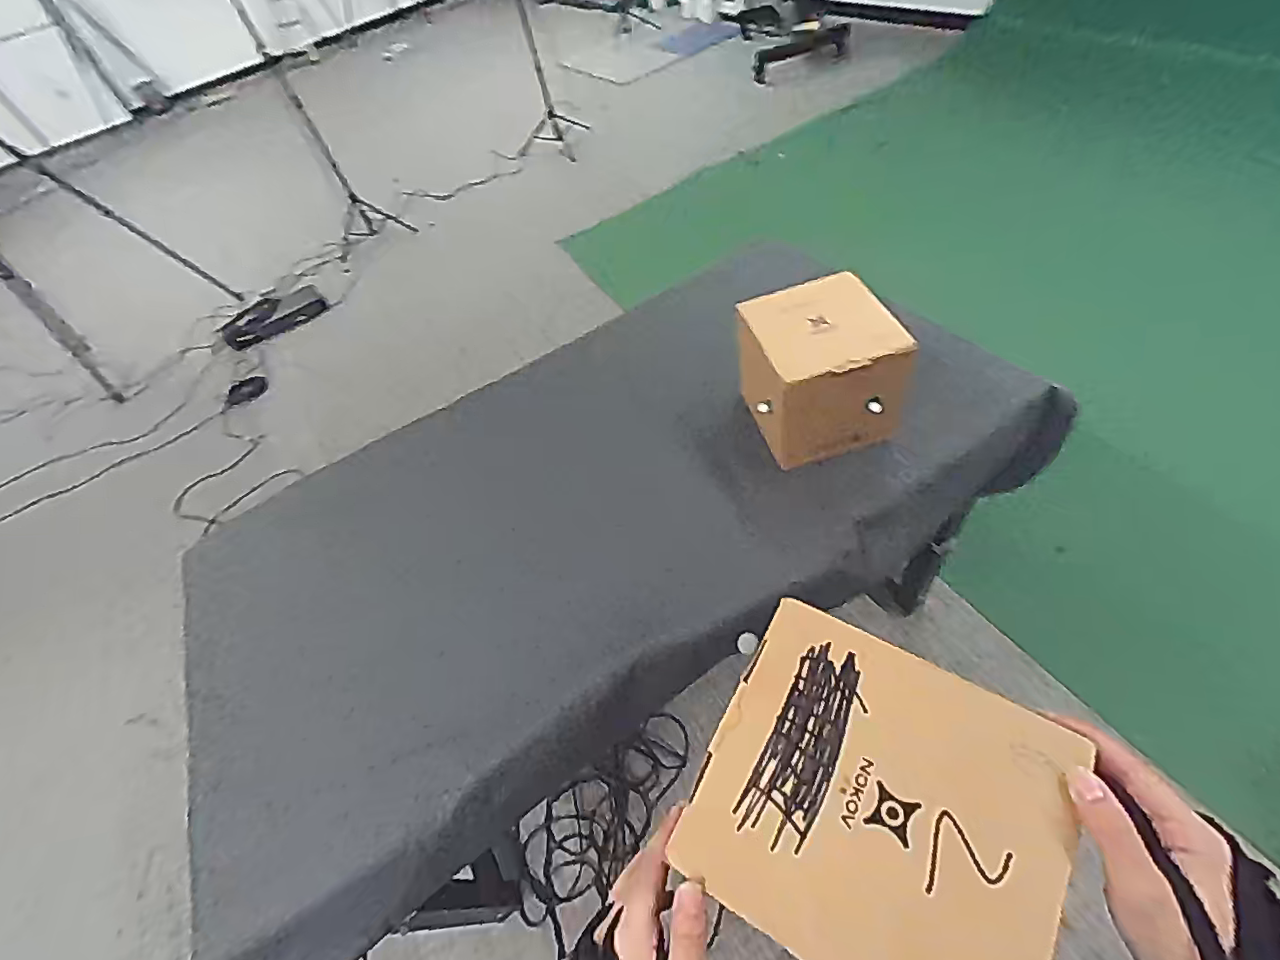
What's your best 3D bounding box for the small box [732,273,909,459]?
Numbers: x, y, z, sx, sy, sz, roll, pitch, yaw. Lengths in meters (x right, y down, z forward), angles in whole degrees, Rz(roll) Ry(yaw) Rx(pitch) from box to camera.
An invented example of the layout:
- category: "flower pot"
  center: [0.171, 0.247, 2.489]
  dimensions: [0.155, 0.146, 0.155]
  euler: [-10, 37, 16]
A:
- category: "small box"
  center: [0.238, -0.148, 0.748]
  dimensions: [0.168, 0.176, 0.179]
  euler: [-17, 49, -1]
